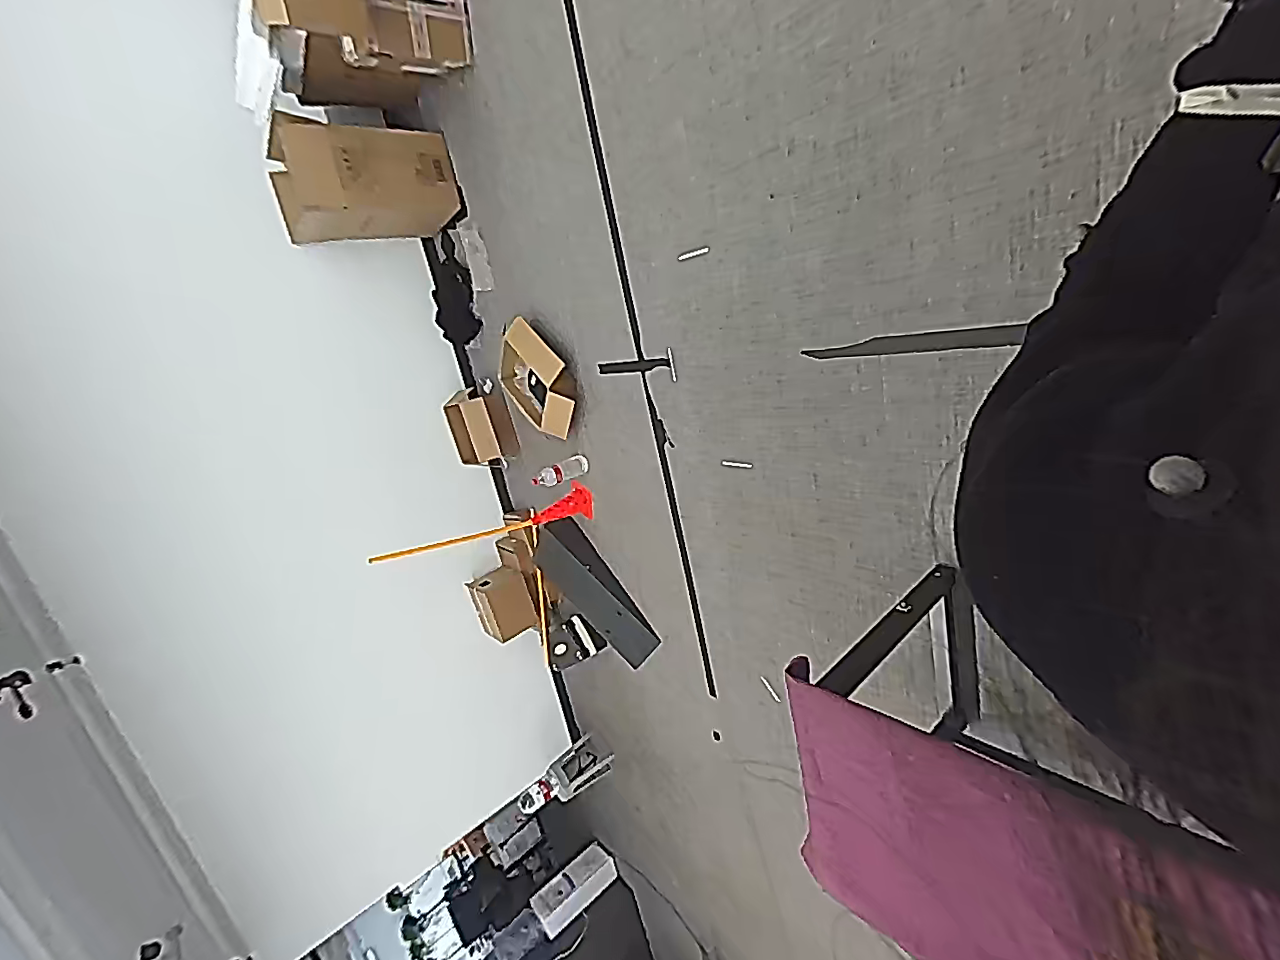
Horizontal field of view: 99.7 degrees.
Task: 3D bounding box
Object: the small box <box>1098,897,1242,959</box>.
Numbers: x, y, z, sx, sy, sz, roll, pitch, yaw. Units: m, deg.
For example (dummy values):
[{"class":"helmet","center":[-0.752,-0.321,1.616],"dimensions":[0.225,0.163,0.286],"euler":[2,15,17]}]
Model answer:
[{"class":"small box","center":[0.717,0.726,0.718],"dimensions":[0.168,0.176,0.179],"euler":[12,120,49]}]
